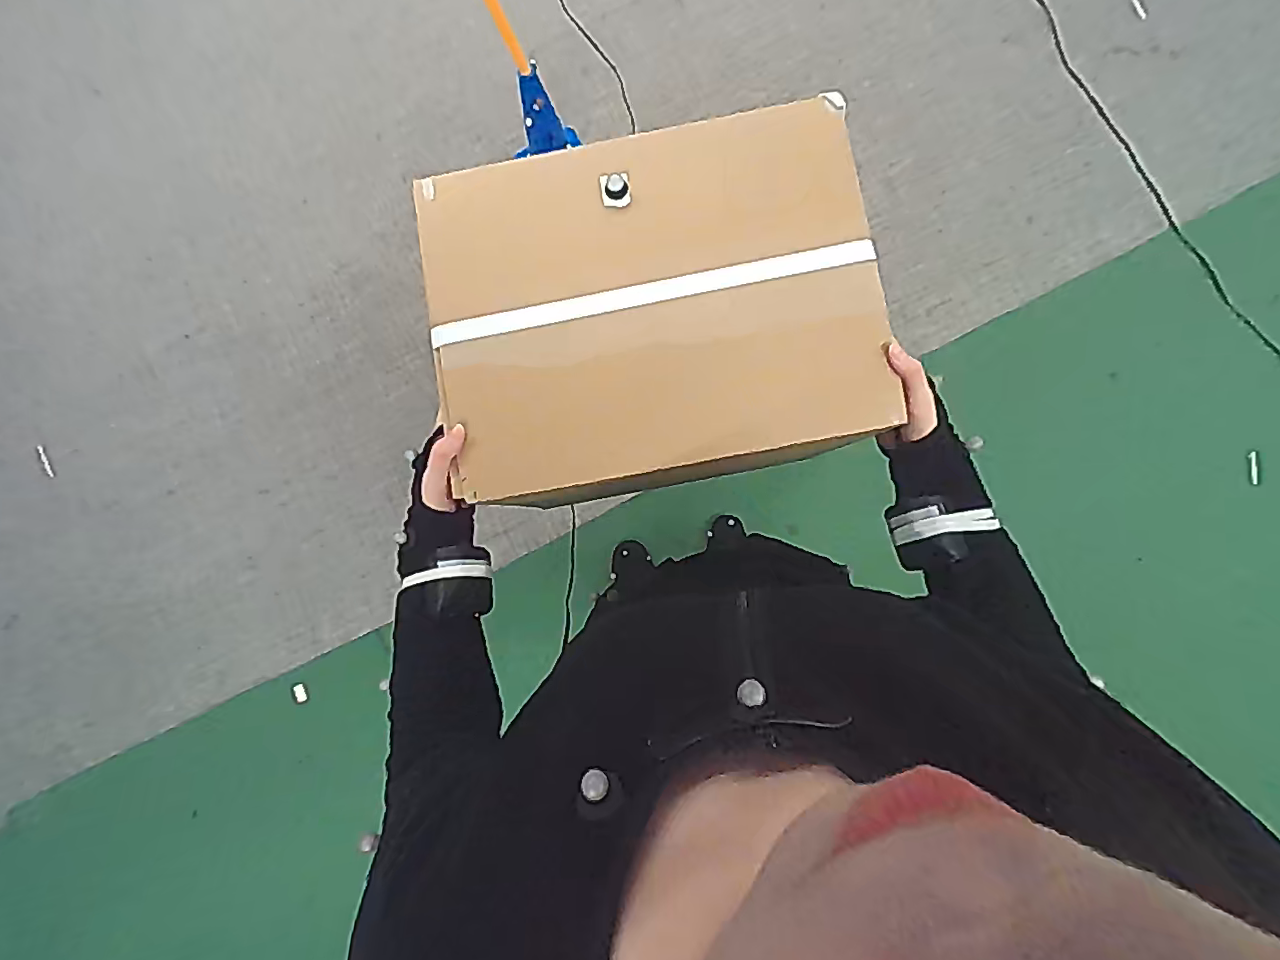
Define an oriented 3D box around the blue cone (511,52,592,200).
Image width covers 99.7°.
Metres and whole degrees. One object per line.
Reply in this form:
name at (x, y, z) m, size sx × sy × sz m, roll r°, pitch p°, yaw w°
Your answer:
blue cone at (-0.259, -0.929, 1.400) m, size 0.193 × 0.380 × 0.192 m, roll -30°, pitch 86°, yaw 2°
